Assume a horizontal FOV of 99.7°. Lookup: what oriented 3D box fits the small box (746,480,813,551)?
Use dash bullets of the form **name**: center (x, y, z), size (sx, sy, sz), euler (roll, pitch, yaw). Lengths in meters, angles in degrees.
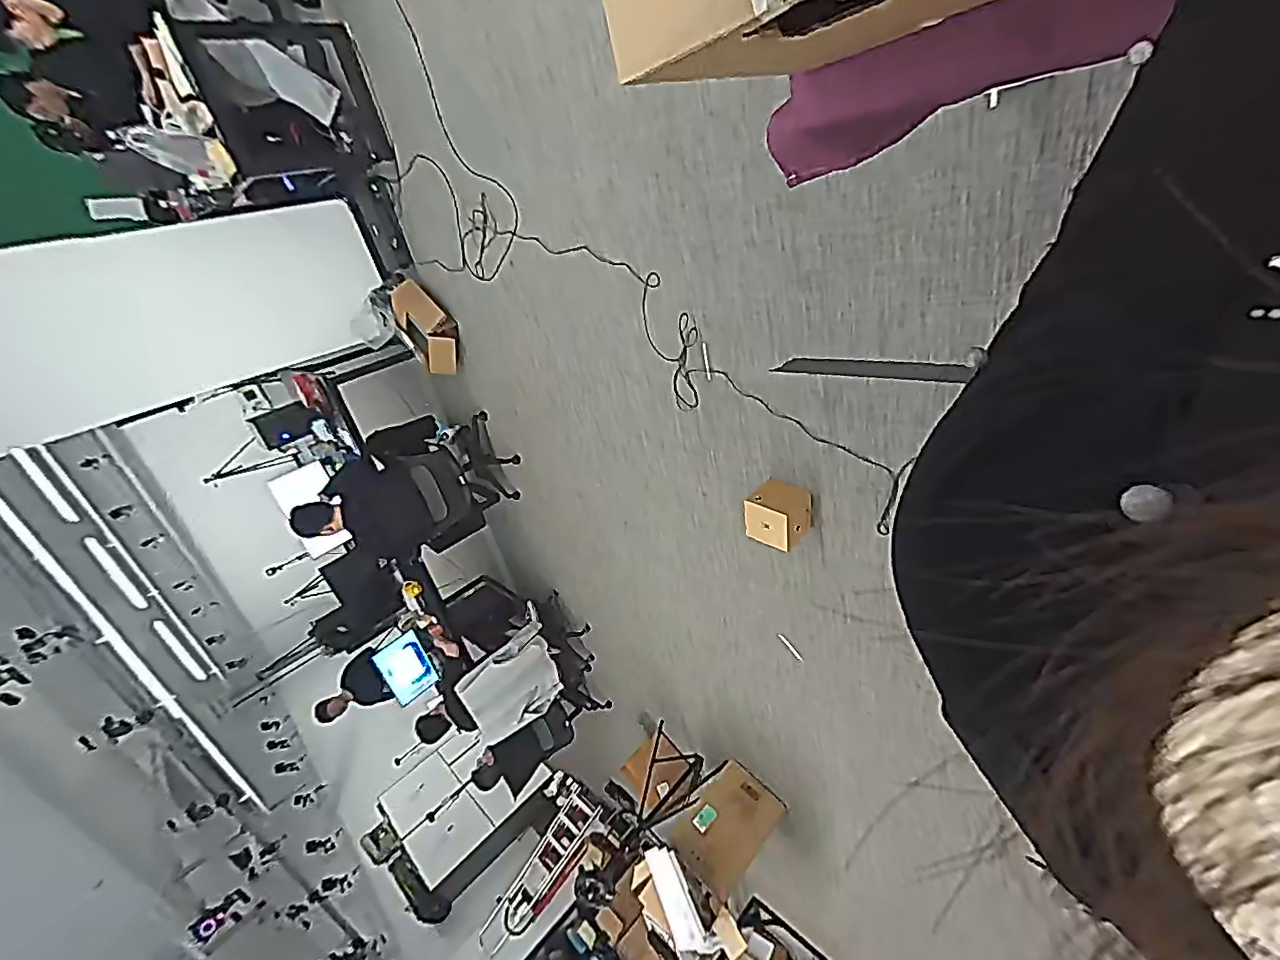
- **small box**: center (0.504, 0.119, 1.939), size (0.179, 0.176, 0.168), euler (22, 134, 41)
